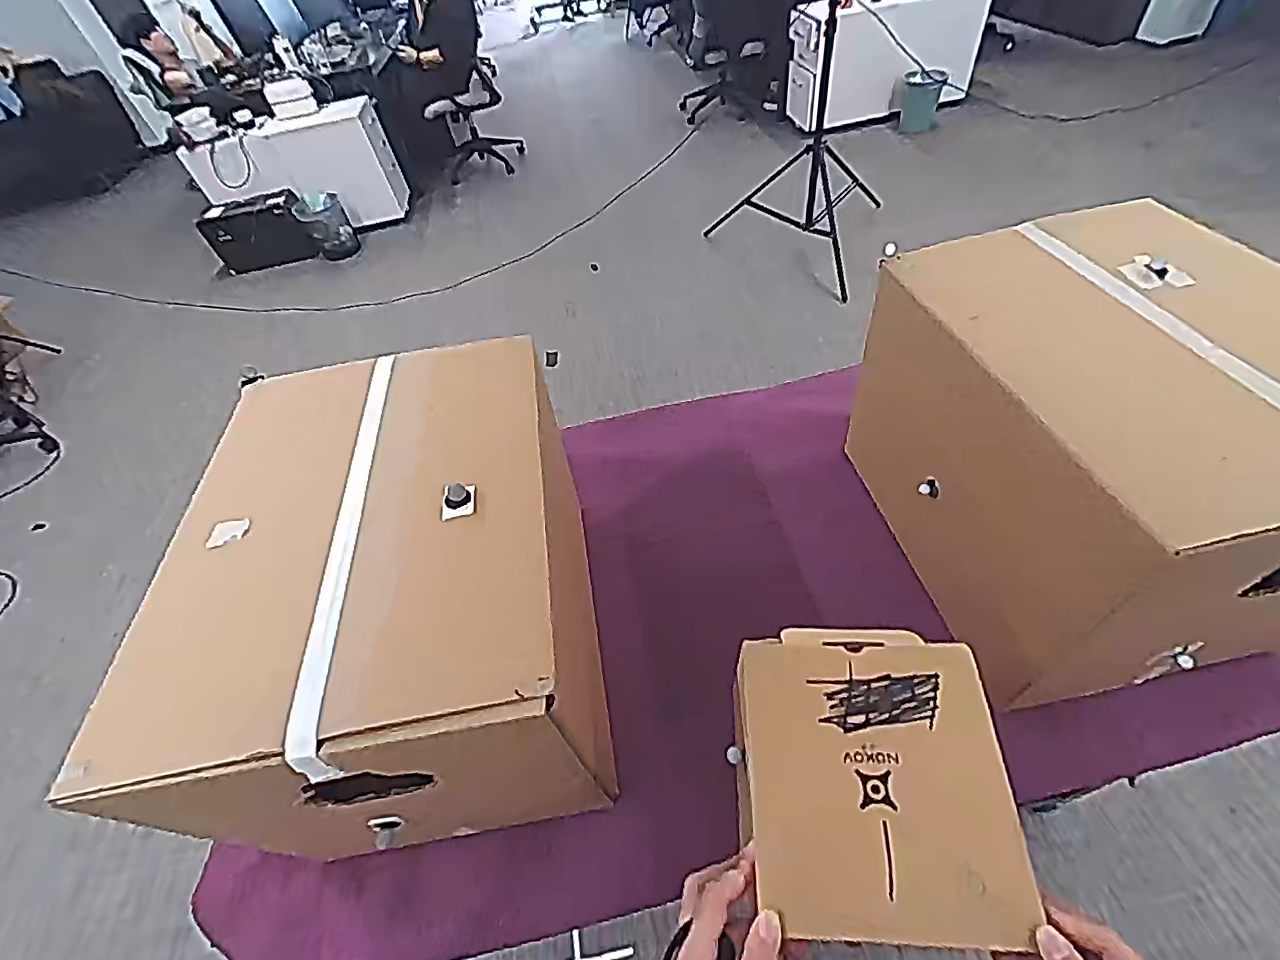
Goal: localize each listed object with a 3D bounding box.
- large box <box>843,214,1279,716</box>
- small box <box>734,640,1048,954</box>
[{"bbox_3d":[0.465,-0.025,0.585,0.320,0.320,0.408,-12,48,-1],"label":"large box"},{"bbox_3d":[0.163,0.237,0.425,0.168,0.176,0.179,-2,58,7],"label":"small box"}]
